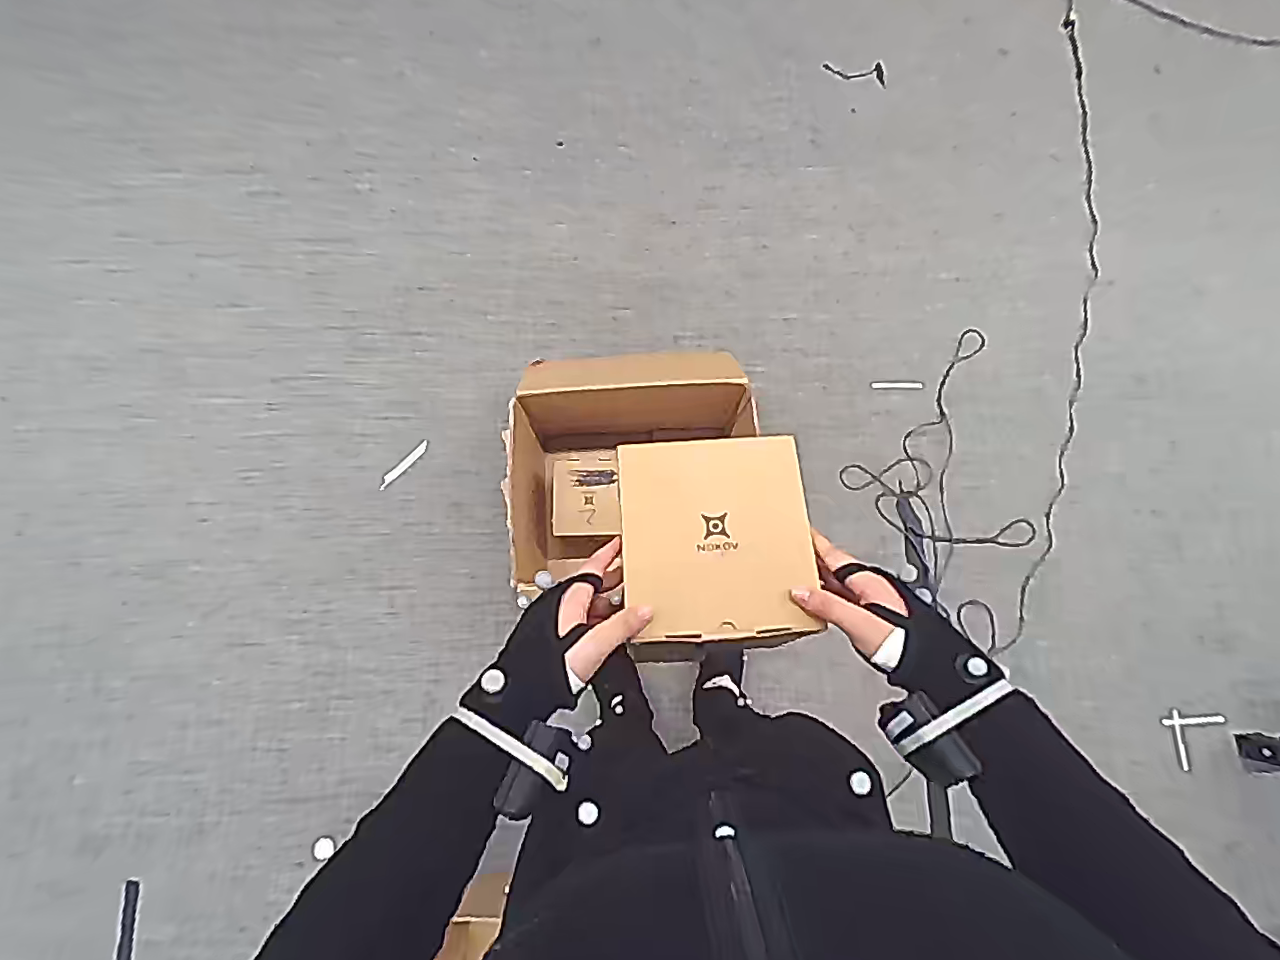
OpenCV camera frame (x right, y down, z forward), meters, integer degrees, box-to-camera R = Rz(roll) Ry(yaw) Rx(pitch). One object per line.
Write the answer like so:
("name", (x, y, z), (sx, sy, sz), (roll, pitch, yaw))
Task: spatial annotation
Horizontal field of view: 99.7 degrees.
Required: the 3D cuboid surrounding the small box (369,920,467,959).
("small box", (-0.455, 1.020, 1.076), (0.179, 0.176, 0.168), (3, 80, -2))
